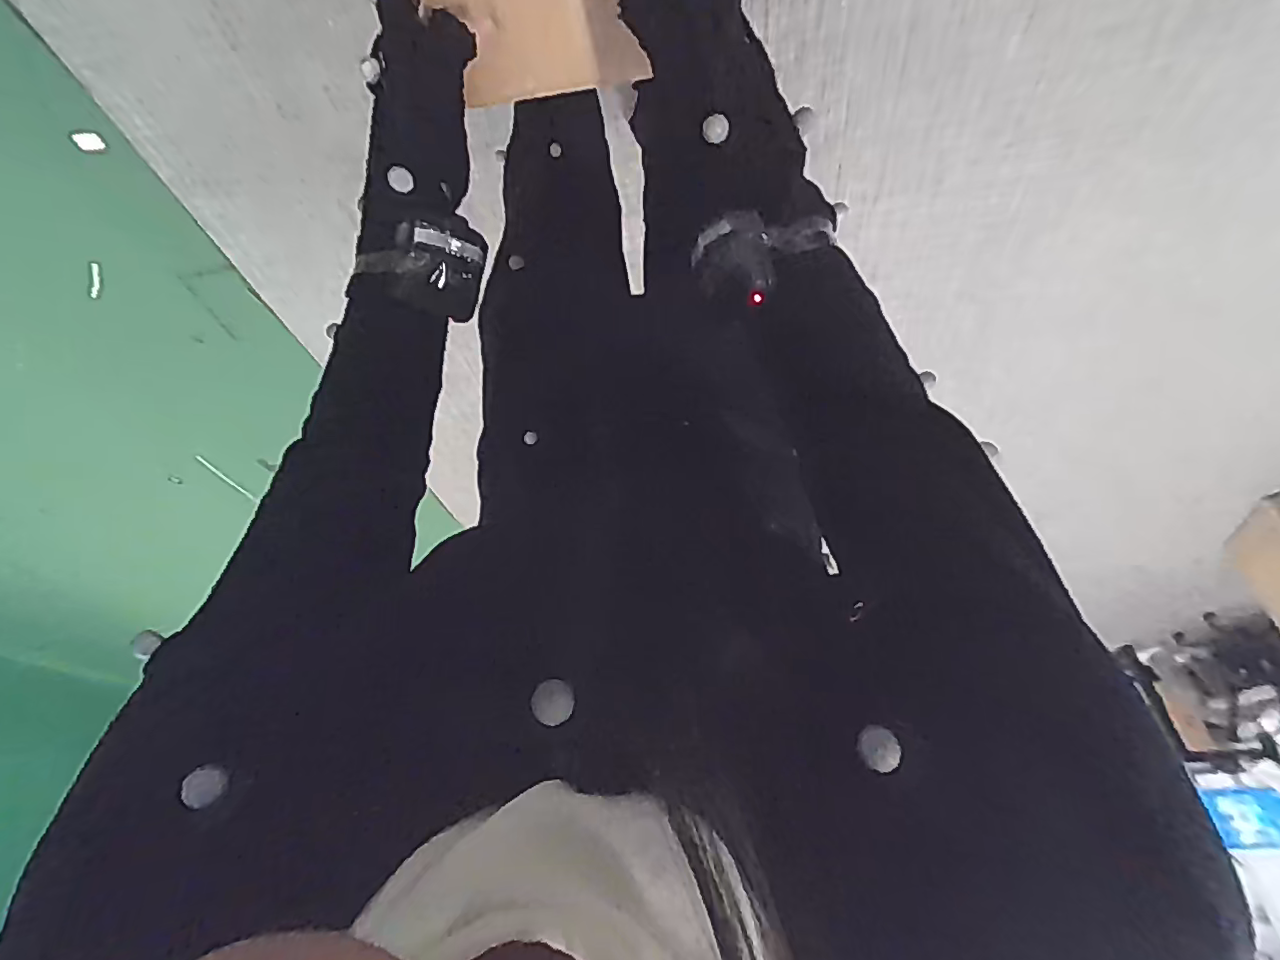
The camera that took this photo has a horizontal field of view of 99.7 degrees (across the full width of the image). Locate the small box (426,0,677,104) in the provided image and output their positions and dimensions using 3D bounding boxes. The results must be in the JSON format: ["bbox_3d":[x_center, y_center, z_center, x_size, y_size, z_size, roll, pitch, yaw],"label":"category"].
[{"bbox_3d":[-0.072,-0.420,0.404,0.179,0.176,0.168,-7,145,4],"label":"small box"}]
